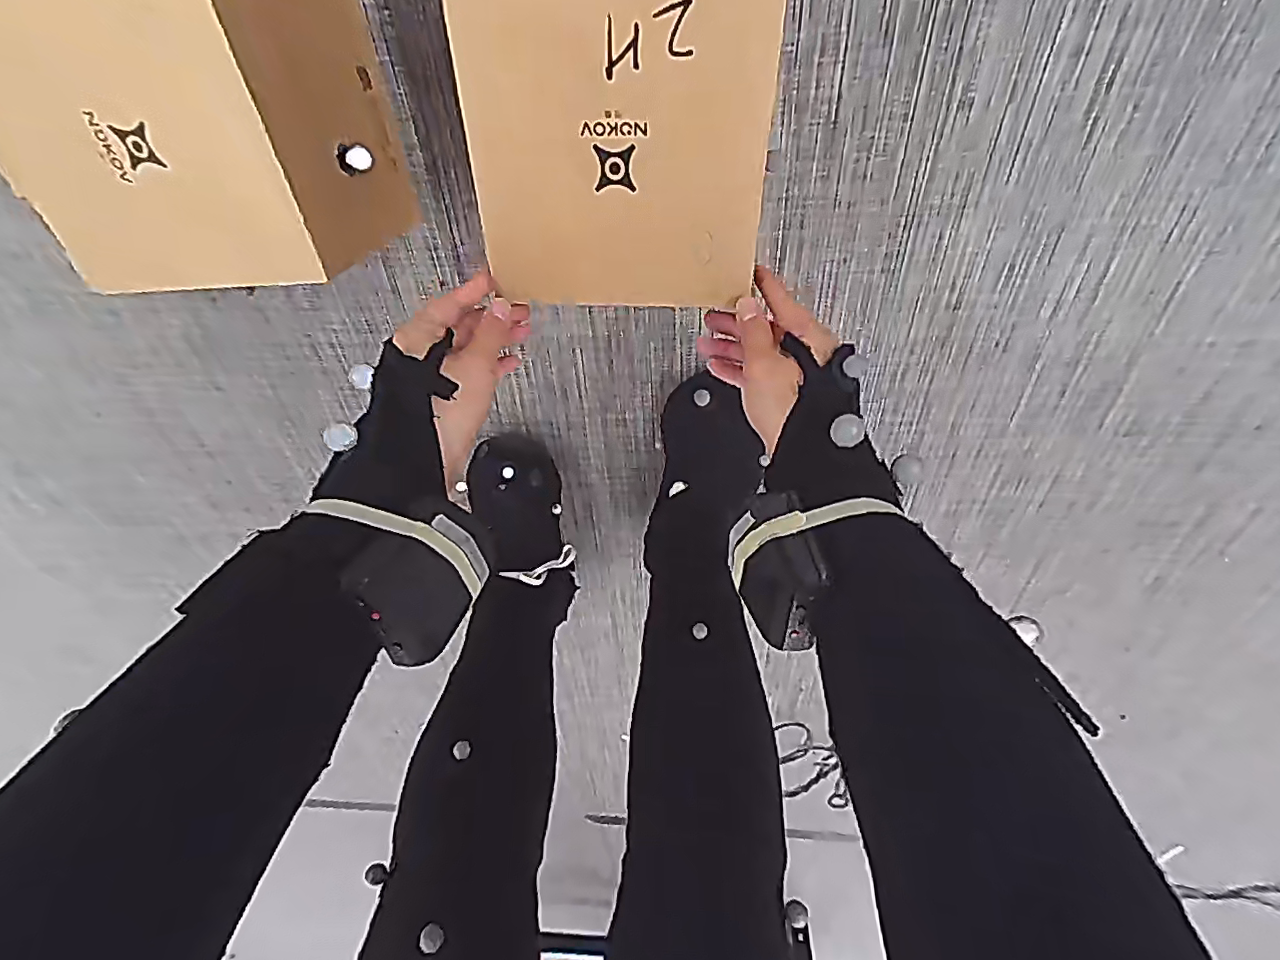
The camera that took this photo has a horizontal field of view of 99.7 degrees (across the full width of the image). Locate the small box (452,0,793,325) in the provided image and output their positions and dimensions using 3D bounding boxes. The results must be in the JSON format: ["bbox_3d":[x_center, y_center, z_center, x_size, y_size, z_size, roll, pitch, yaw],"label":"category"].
[{"bbox_3d":[-0.005,-0.223,0.362,0.168,0.176,0.179,2,129,2],"label":"small box"}]

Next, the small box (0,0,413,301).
[{"bbox_3d":[-0.282,-0.238,0.377,0.179,0.176,0.168,-1,129,5],"label":"small box"}]
